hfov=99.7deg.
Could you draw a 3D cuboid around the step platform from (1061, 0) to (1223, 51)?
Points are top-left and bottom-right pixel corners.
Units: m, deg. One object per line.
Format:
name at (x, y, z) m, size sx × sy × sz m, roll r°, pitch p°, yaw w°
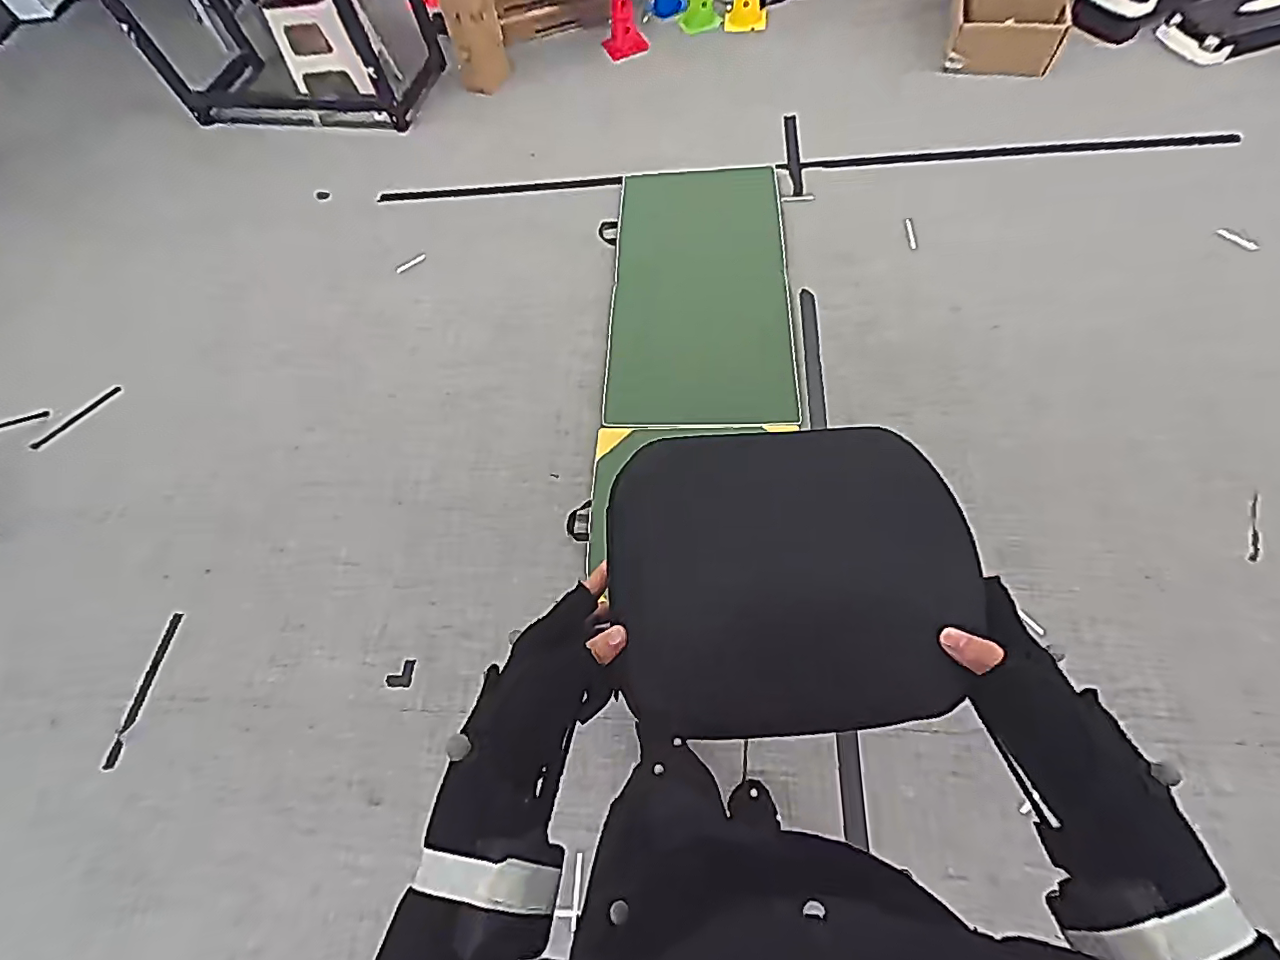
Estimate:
step platform at (2.221, -2.115, 2.327) m, size 0.684 × 0.204 × 0.286 m, roll -26°, pitch 64°, yaw -6°
